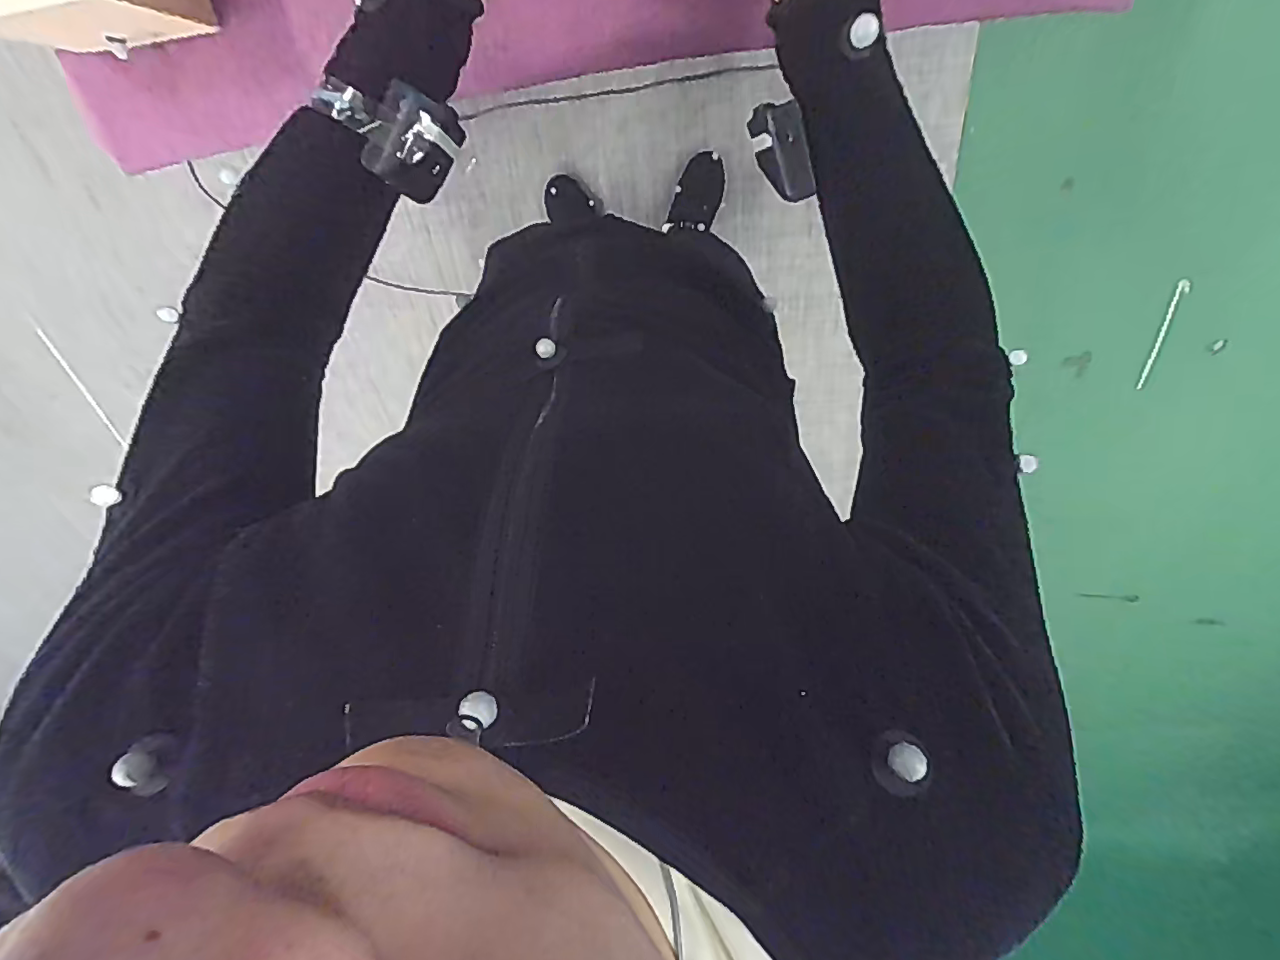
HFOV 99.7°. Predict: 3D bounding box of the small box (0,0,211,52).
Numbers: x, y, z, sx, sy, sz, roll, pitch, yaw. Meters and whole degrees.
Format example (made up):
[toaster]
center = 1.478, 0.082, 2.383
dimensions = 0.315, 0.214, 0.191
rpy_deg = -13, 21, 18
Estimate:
[small box]
center = -0.575, -0.539, 0.513
dimensions = 0.168, 0.176, 0.179
rpy_deg = -6, 121, 4
